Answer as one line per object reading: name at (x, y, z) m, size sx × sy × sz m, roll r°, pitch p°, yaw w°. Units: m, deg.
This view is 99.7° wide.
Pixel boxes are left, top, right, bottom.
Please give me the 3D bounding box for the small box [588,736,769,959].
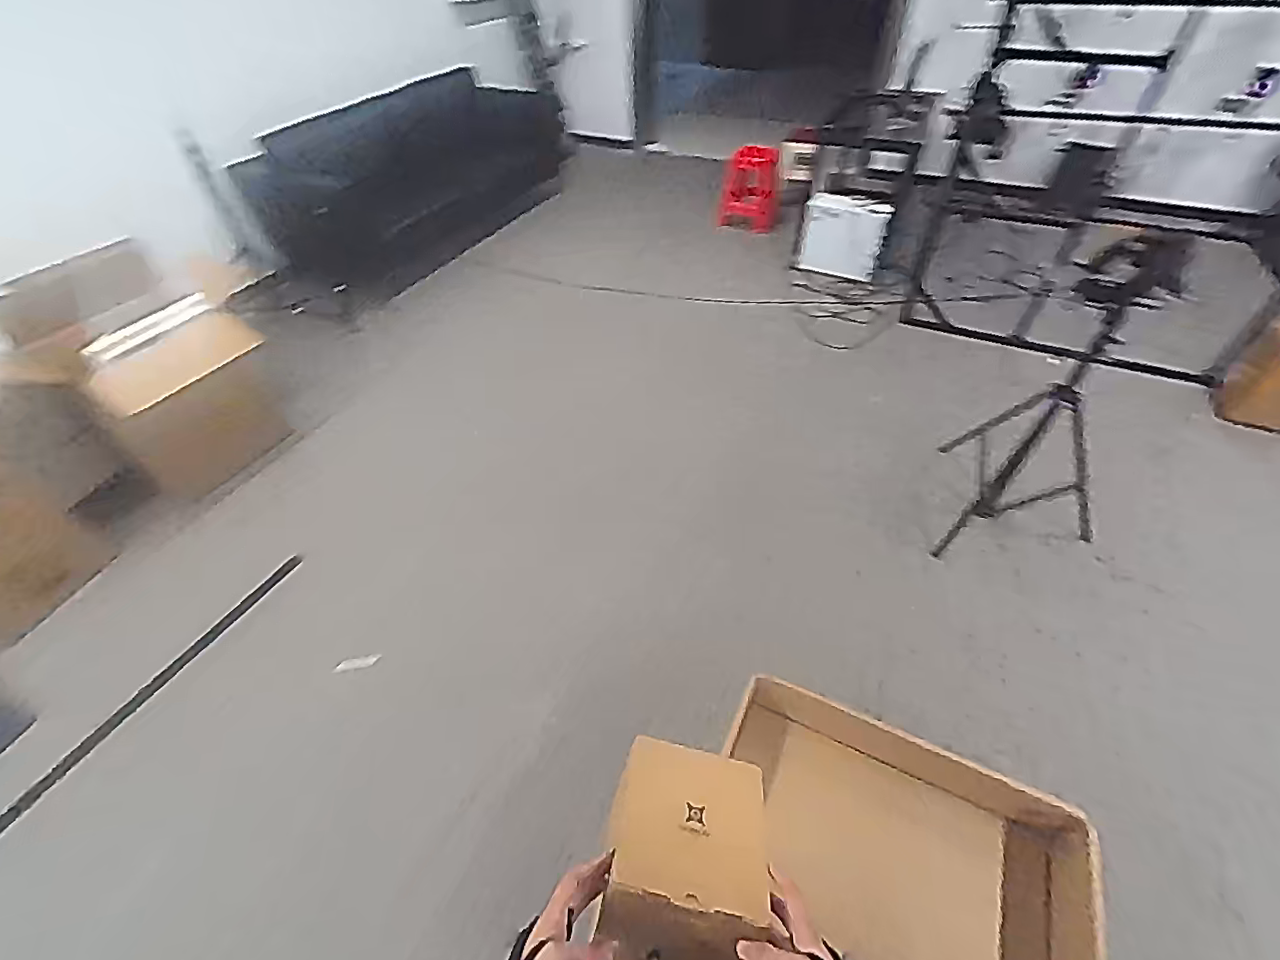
small box at (0.041, 0.449, 0.640) m, size 0.168 × 0.176 × 0.179 m, roll 13°, pitch 28°, yaw 1°
